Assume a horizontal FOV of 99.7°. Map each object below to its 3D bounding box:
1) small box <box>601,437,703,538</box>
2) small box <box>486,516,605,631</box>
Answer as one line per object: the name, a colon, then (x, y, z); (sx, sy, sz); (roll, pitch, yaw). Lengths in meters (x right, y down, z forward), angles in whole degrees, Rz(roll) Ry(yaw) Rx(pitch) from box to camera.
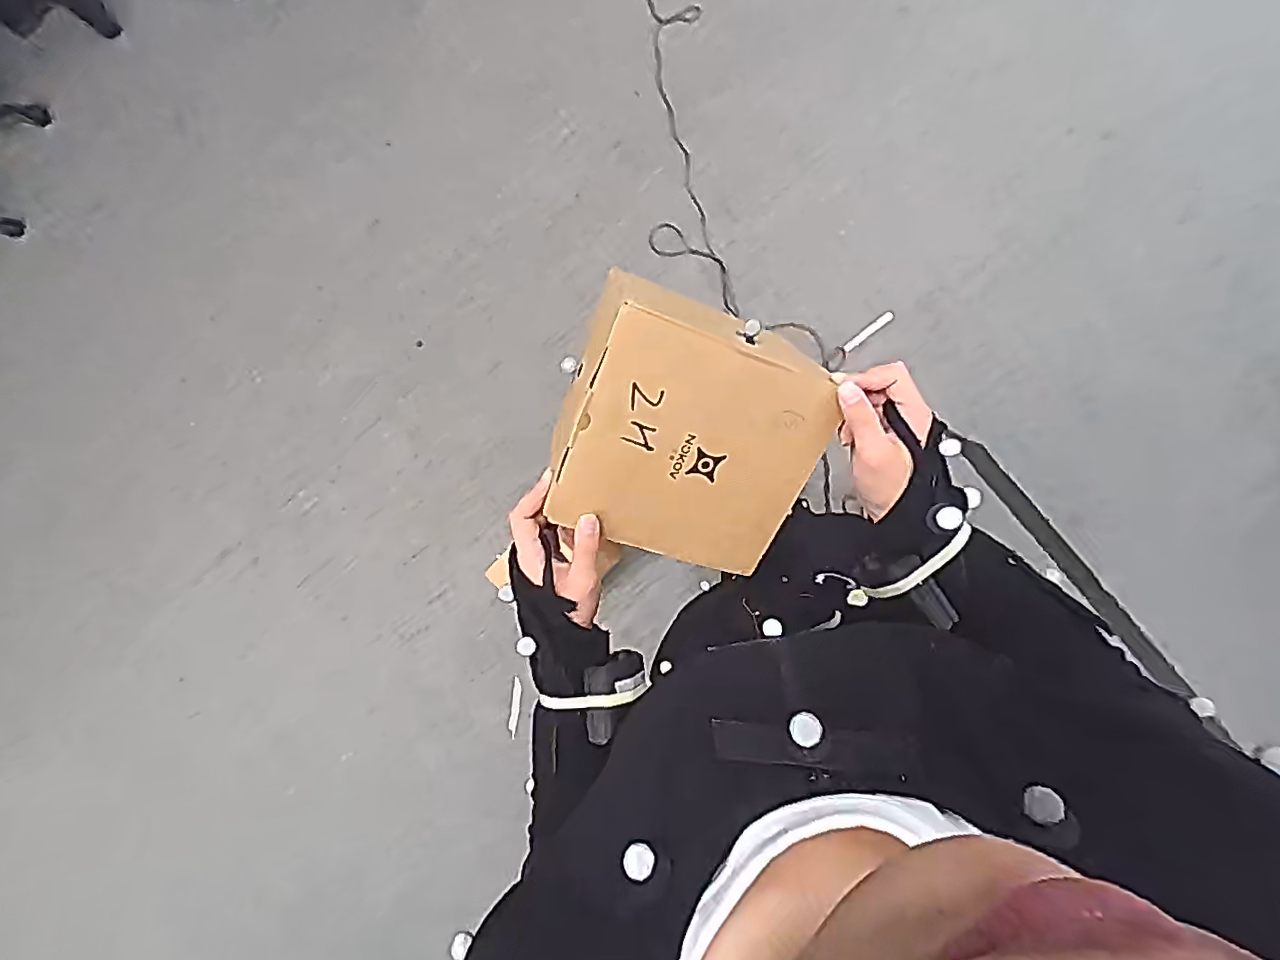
small box: (0.035, 0.019, 1.308); (0.168, 0.176, 0.179); (-43, 83, 8)
small box: (-0.195, 0.193, 1.182); (0.168, 0.176, 0.179); (44, 97, 8)
